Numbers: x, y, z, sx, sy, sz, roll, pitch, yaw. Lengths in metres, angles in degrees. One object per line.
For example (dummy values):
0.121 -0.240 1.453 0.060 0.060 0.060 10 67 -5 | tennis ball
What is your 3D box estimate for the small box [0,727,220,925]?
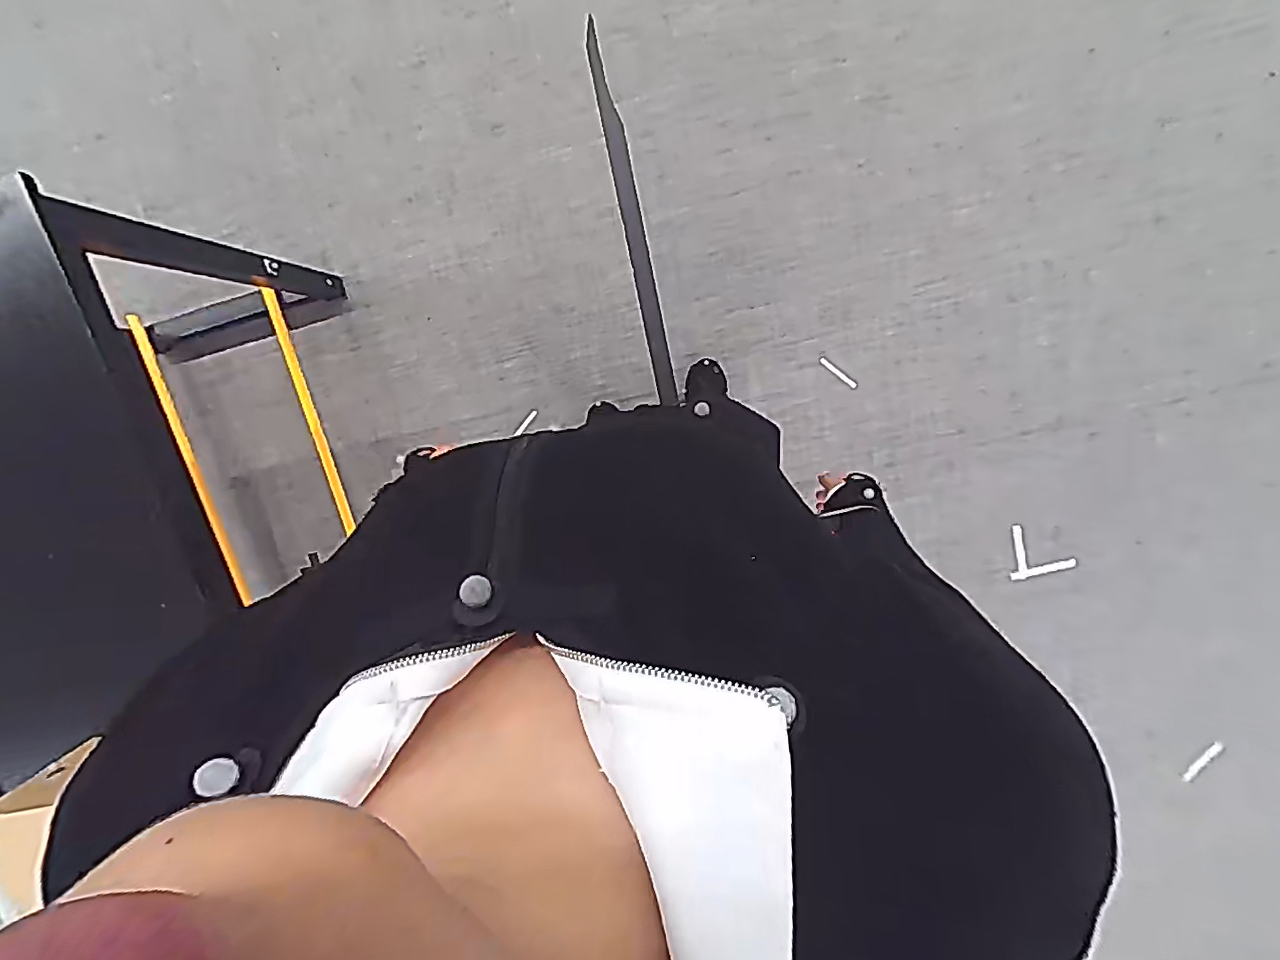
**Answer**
-0.782 0.495 0.793 0.179 0.176 0.168 -13 101 4 | small box
